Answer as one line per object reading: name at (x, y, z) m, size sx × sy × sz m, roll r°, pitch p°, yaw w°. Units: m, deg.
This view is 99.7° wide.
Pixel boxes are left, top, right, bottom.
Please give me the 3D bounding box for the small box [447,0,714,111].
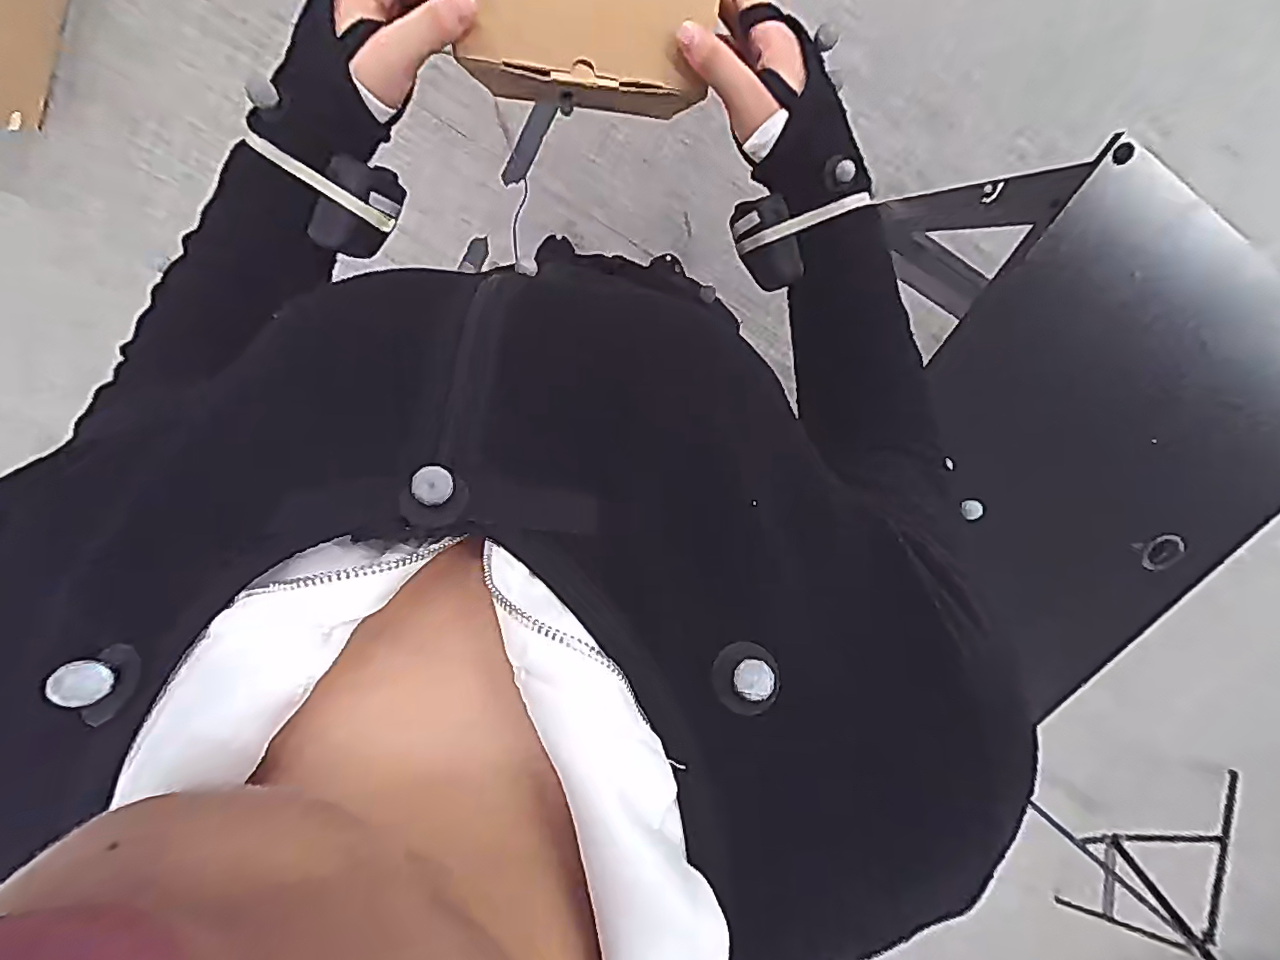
small box at (-0.038, -0.377, 0.375) m, size 0.168 × 0.176 × 0.179 m, roll 2°, pitch 120°, yaw -8°
